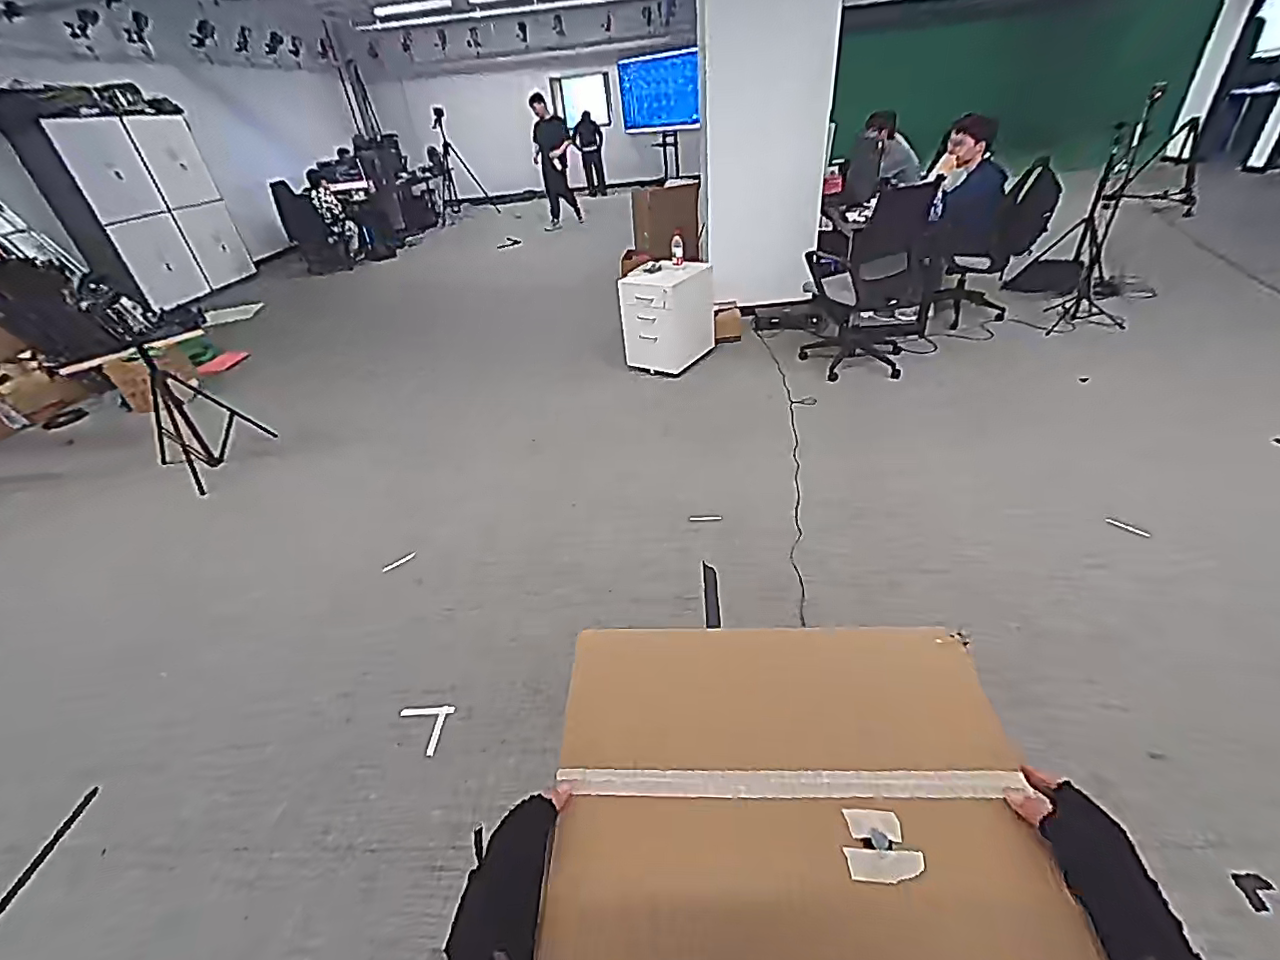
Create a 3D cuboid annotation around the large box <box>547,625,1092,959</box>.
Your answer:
[{"bbox_3d":[0.139,0.378,0.588,0.408,0.320,0.320,-2,43,5],"label":"large box"}]
